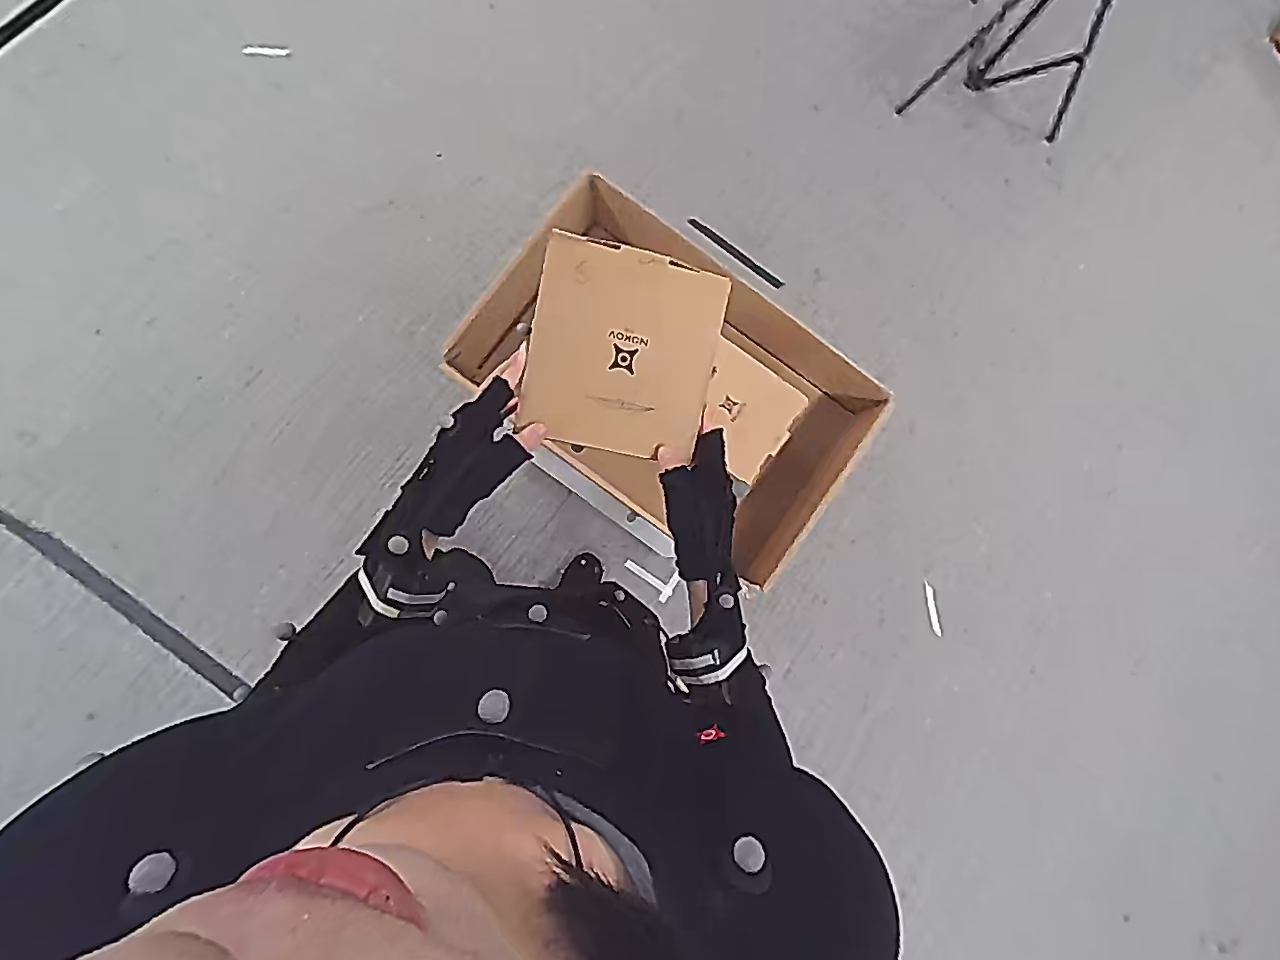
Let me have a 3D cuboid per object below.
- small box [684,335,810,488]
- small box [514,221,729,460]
[{"bbox_3d":[0.138,-0.101,0.887,0.179,0.176,0.168,37,84,0],"label":"small box"},{"bbox_3d":[-0.031,-0.129,0.548,0.168,0.176,0.179,10,98,-13],"label":"small box"}]
